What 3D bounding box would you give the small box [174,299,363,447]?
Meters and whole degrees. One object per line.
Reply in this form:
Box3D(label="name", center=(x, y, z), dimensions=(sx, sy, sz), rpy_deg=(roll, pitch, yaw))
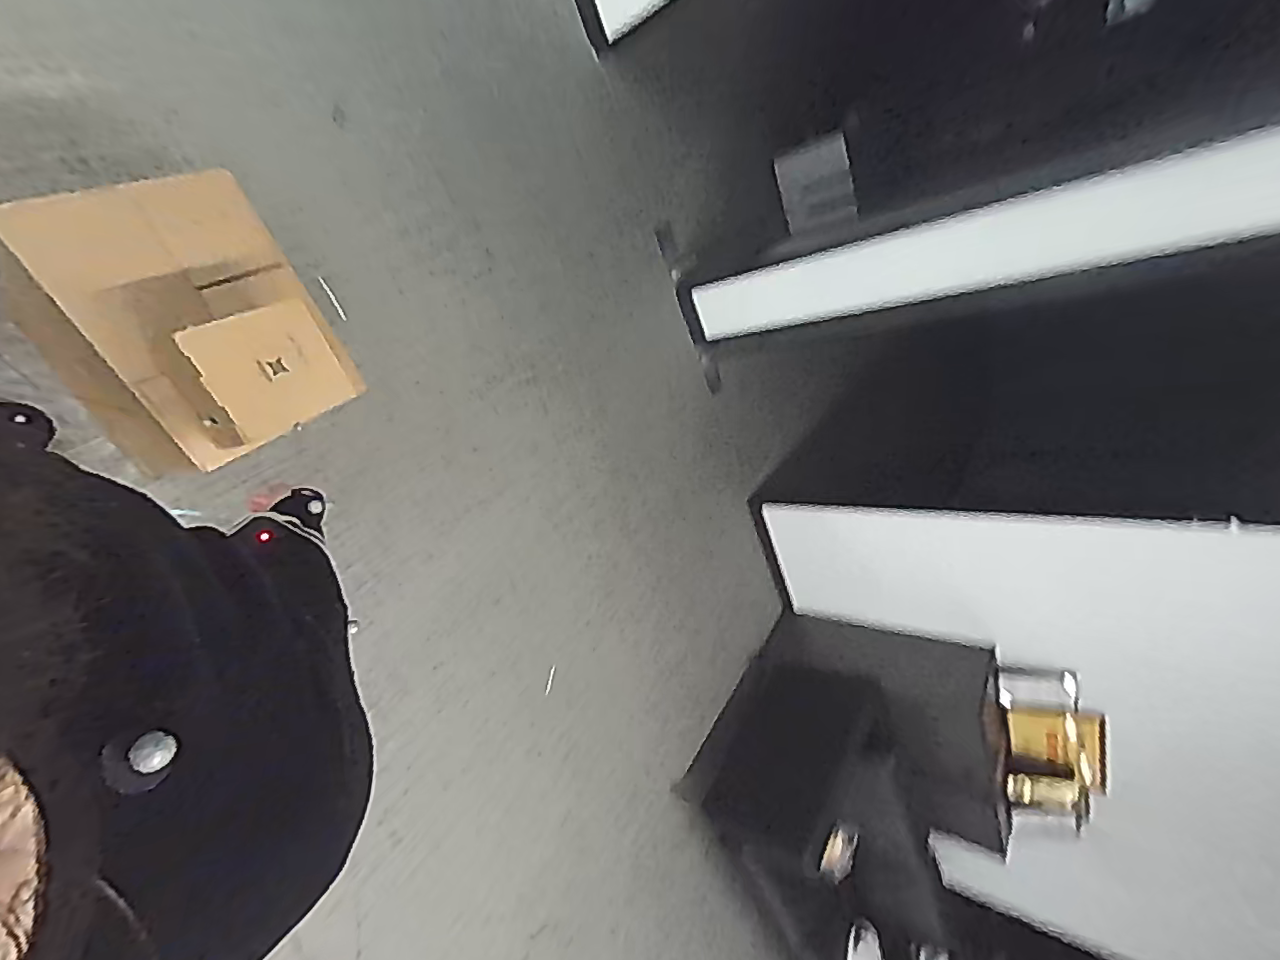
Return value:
Box3D(label="small box", center=(-0.584, -0.162, 0.847), dimensions=(0.179, 0.176, 0.168), rpy_deg=(-41, 119, -41))
